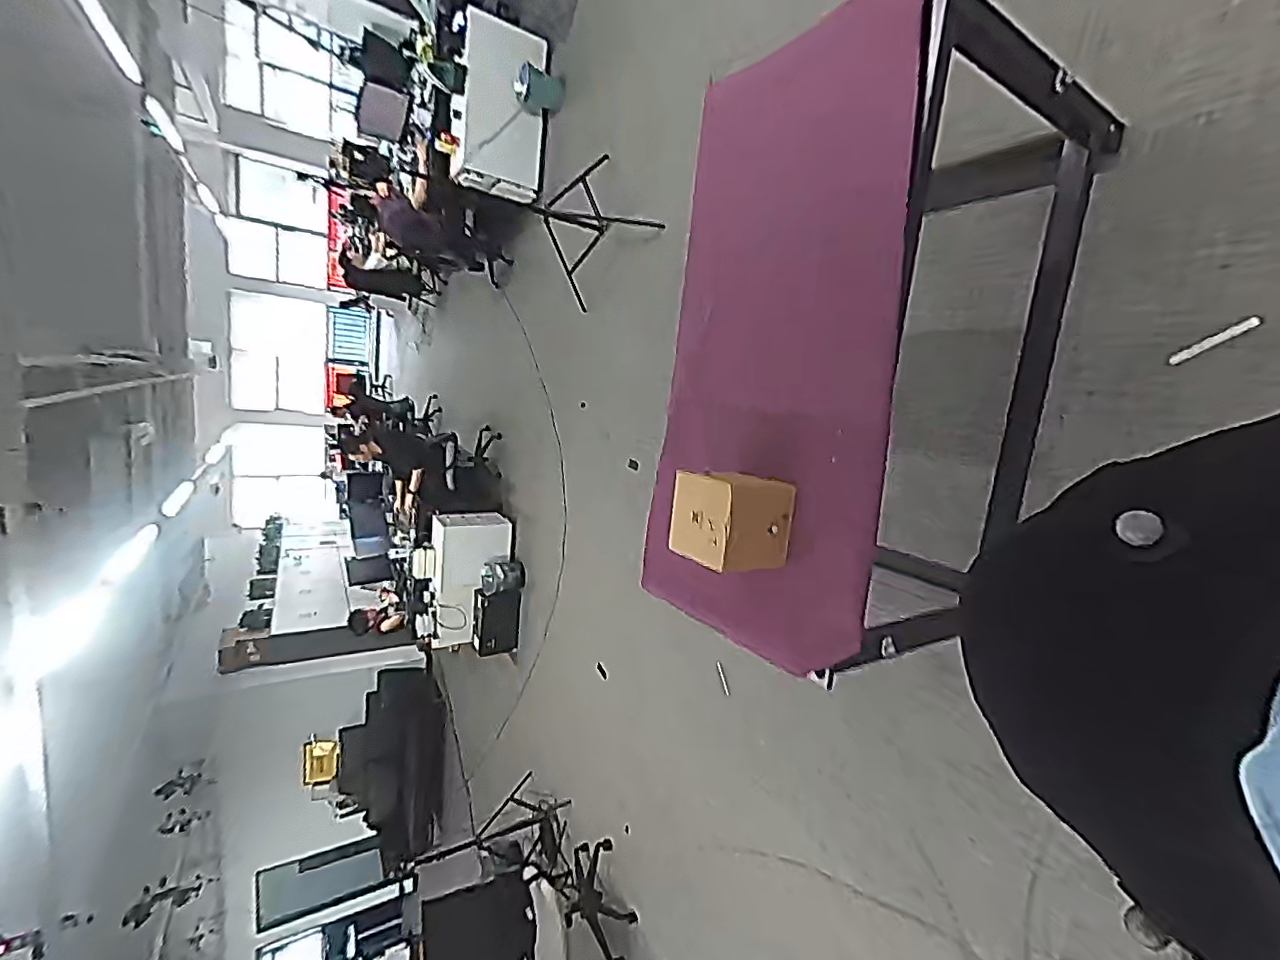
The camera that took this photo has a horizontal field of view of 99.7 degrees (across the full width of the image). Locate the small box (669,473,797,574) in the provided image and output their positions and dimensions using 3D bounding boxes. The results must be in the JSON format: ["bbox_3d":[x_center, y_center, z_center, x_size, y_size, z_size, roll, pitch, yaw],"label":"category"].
[{"bbox_3d":[0.182,0.082,1.080,0.179,0.176,0.168,16,103,57],"label":"small box"}]
